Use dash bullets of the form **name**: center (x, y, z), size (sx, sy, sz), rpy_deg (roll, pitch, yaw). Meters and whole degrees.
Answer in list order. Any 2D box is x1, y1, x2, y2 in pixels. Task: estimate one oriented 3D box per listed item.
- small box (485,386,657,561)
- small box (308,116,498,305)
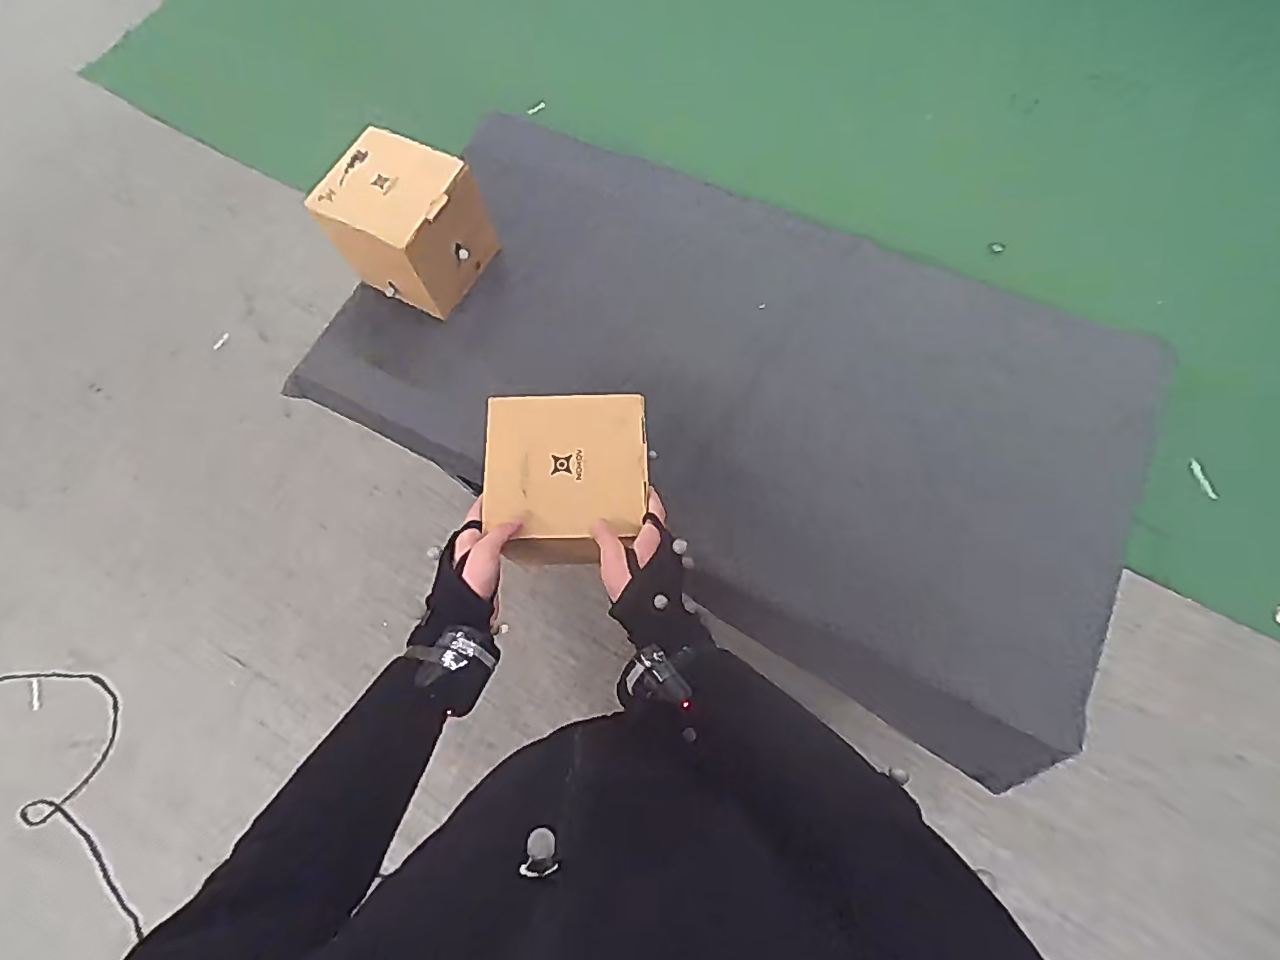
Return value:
- **small box**: center (-0.074, 0.000, 0.648), size (0.179, 0.176, 0.168), rpy_deg (-1, 70, -1)
- **small box**: center (-0.343, -0.398, 0.826), size (0.179, 0.176, 0.168), rpy_deg (28, 74, 8)
